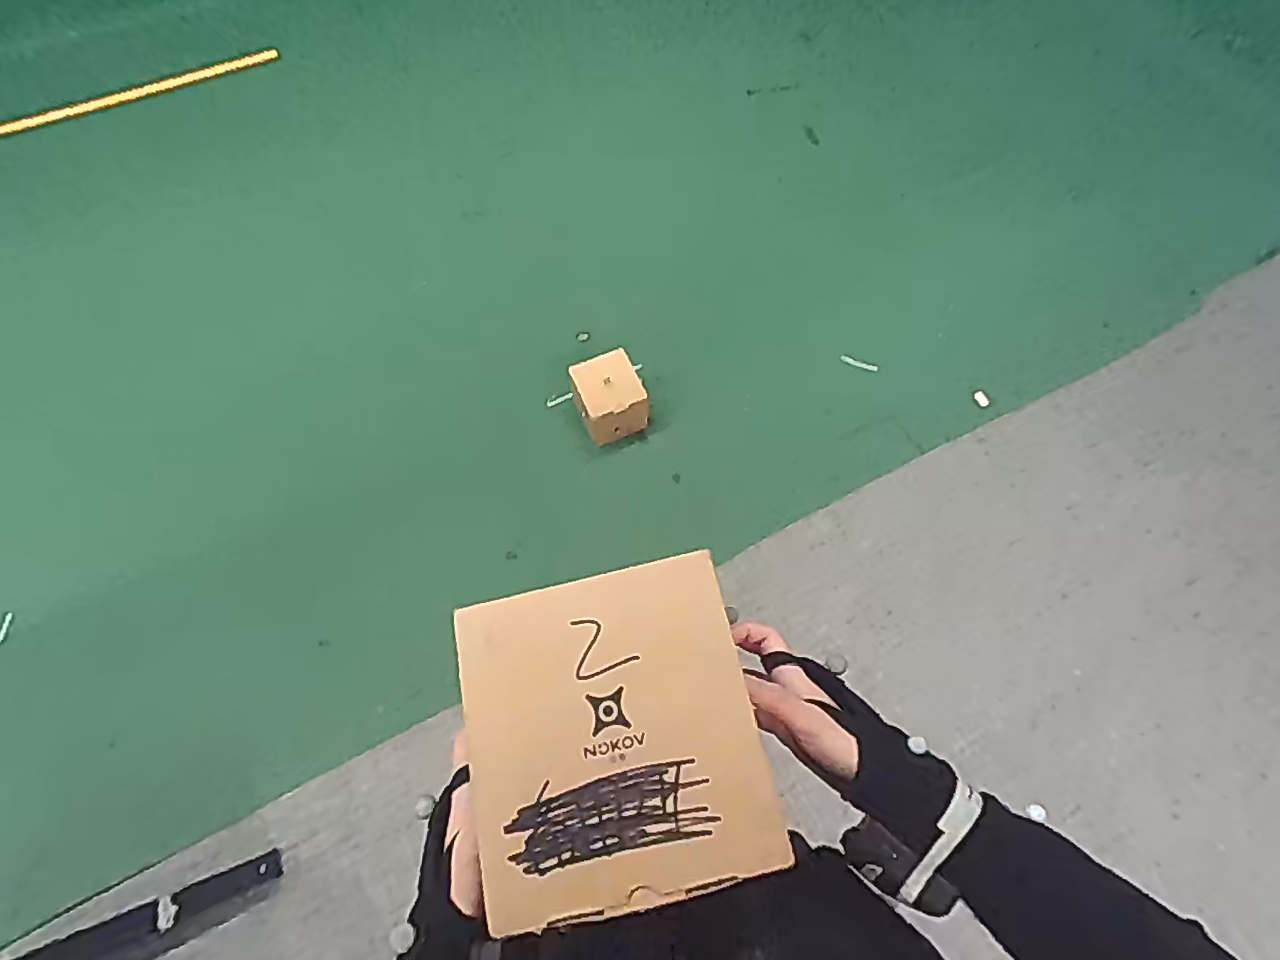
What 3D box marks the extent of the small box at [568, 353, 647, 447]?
[{"bbox_3d":[-0.092,-0.221,1.530,0.168,0.176,0.179,-22,70,-10],"label":"small box"}]
